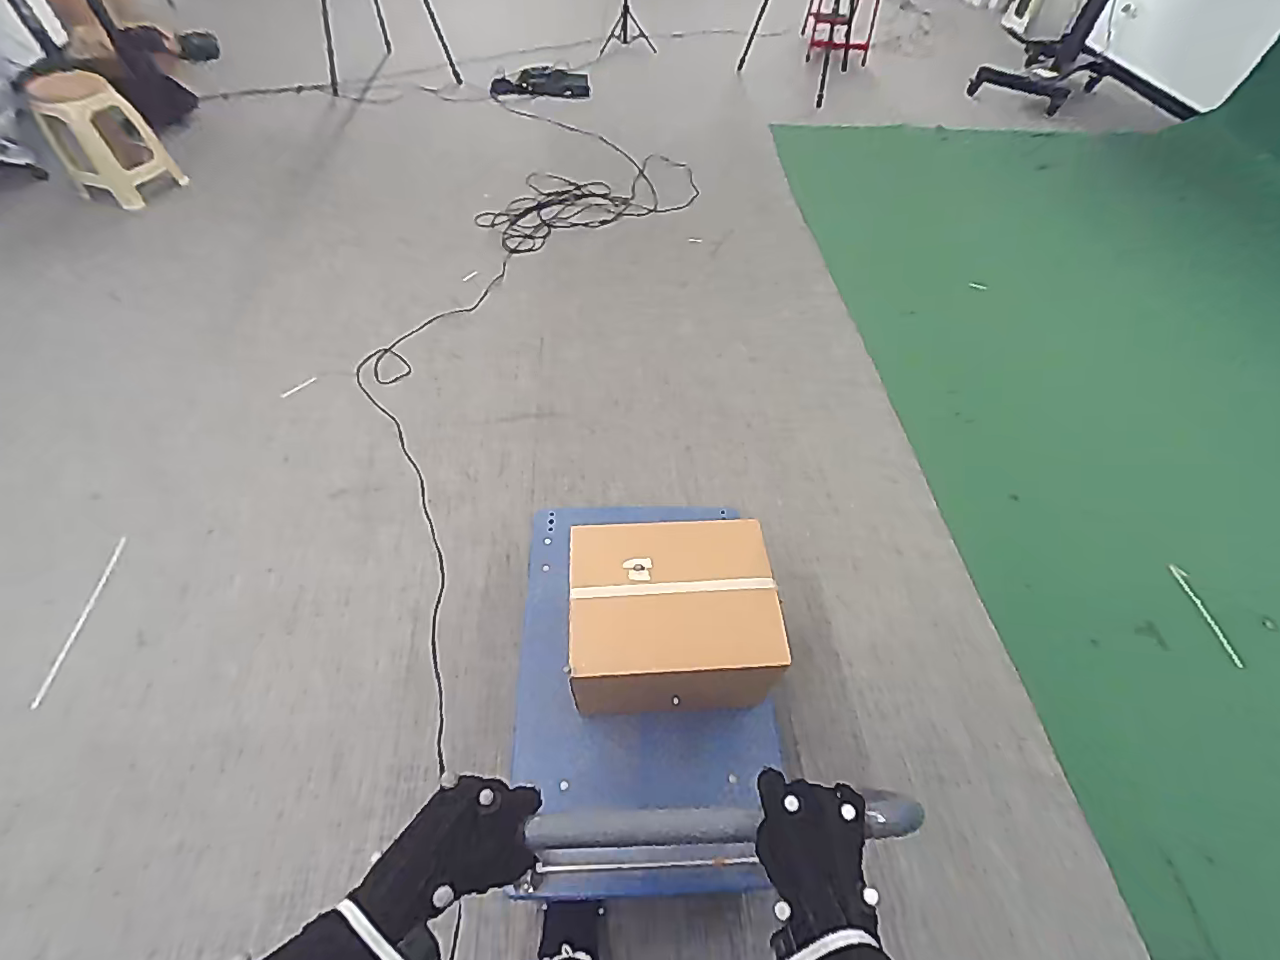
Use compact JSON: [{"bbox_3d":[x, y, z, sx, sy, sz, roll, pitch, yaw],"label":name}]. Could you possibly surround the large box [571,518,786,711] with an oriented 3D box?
[{"bbox_3d":[0.064,0.304,1.191,0.408,0.320,0.320,-3,54,-2],"label":"large box"}]
